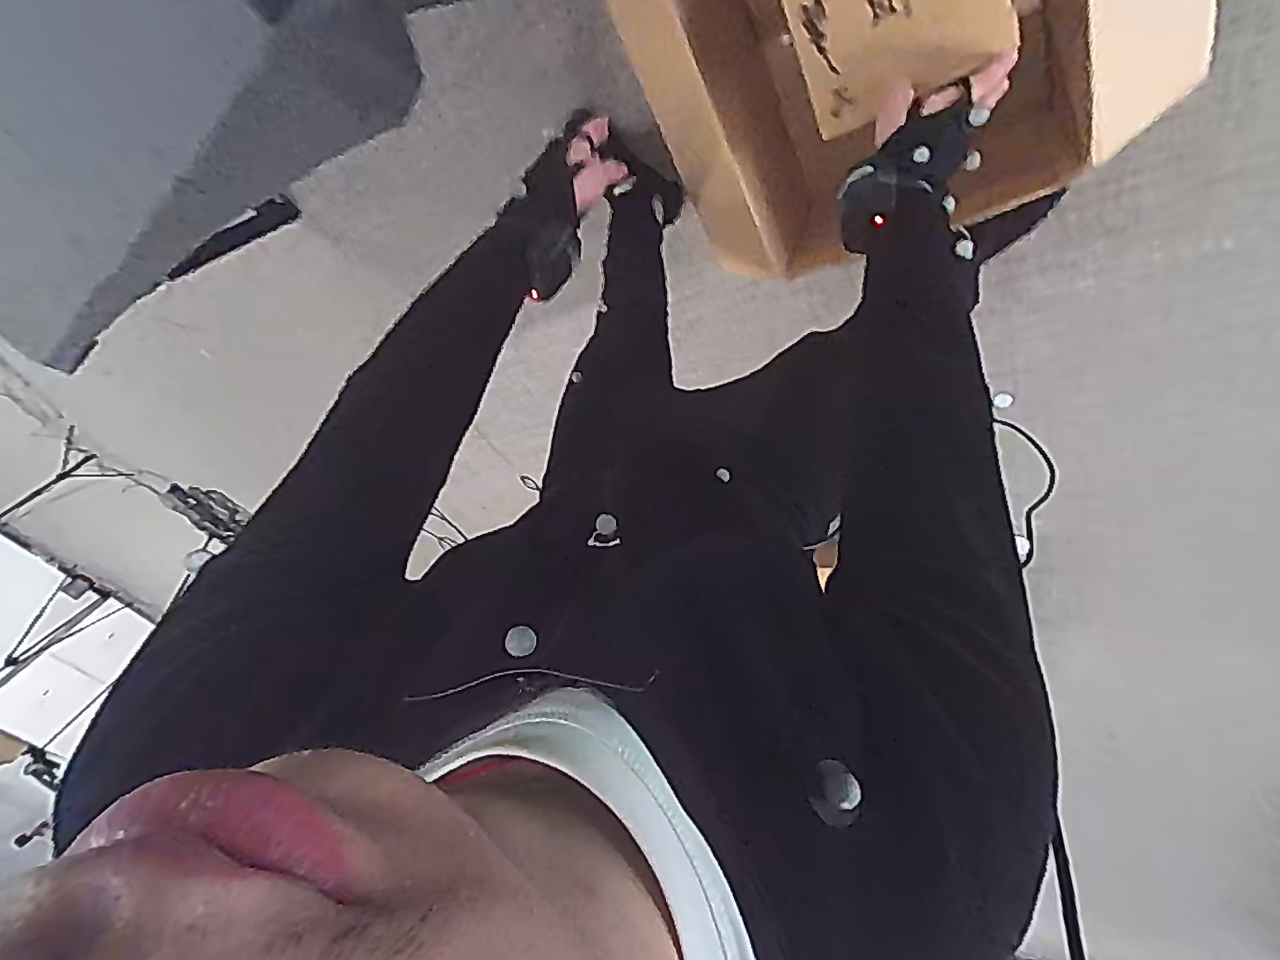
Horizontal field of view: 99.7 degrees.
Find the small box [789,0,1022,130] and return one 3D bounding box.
[{"bbox_3d":[0.253,-0.494,0.534,0.179,0.176,0.168,-9,130,33],"label":"small box"}]
